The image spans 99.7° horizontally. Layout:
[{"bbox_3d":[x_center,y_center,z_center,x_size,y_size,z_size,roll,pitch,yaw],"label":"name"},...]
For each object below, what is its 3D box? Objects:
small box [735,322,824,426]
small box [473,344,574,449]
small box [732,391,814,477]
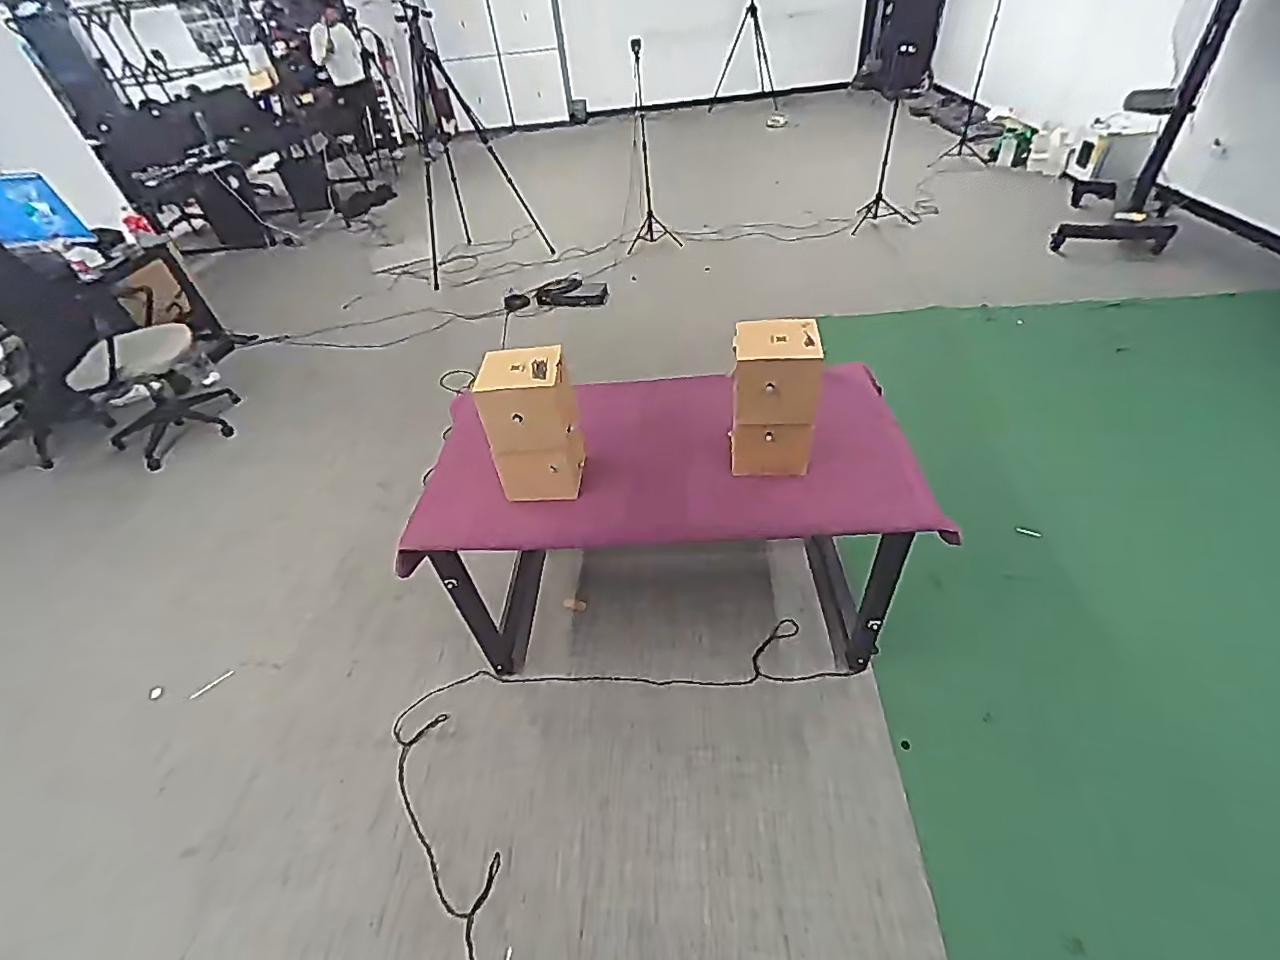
[{"bbox_3d":[0.299,-0.232,1.193,0.179,0.176,0.168,1,44,10],"label":"small box"},{"bbox_3d":[-0.247,-0.183,1.202,0.179,0.176,0.168,-3,43,3],"label":"small box"},{"bbox_3d":[0.315,-0.120,1.314,0.179,0.176,0.168,1,44,9],"label":"small box"}]
